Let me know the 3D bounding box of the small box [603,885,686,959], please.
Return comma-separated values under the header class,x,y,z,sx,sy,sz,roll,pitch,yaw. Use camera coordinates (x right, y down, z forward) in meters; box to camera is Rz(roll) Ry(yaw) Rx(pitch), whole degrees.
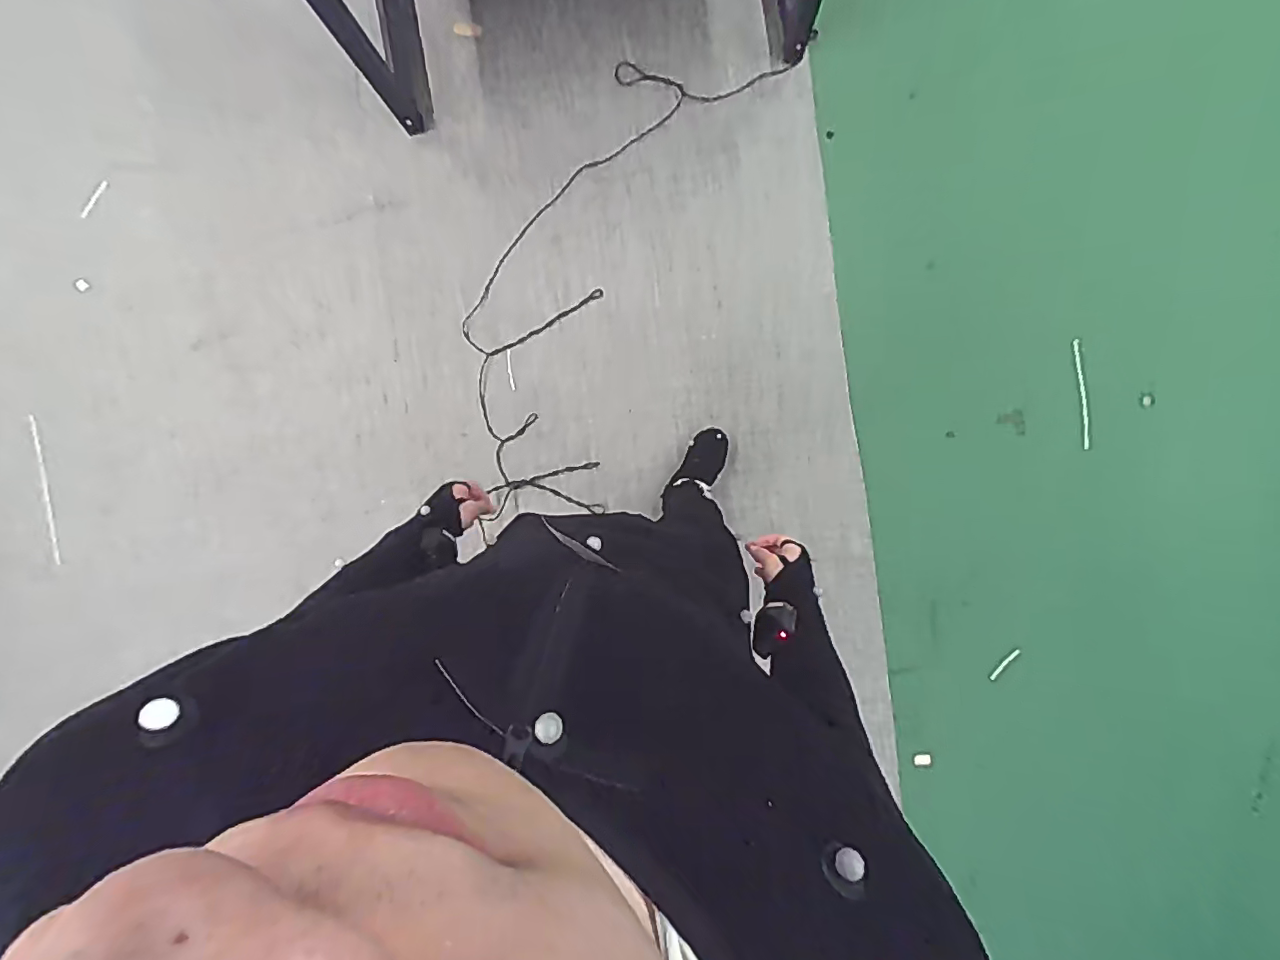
class,x,y,z,sx,sy,sz,roll,pitch,yaw
small box,0.013,1.070,1.237,0.168,0.176,0.179,-10,92,2
